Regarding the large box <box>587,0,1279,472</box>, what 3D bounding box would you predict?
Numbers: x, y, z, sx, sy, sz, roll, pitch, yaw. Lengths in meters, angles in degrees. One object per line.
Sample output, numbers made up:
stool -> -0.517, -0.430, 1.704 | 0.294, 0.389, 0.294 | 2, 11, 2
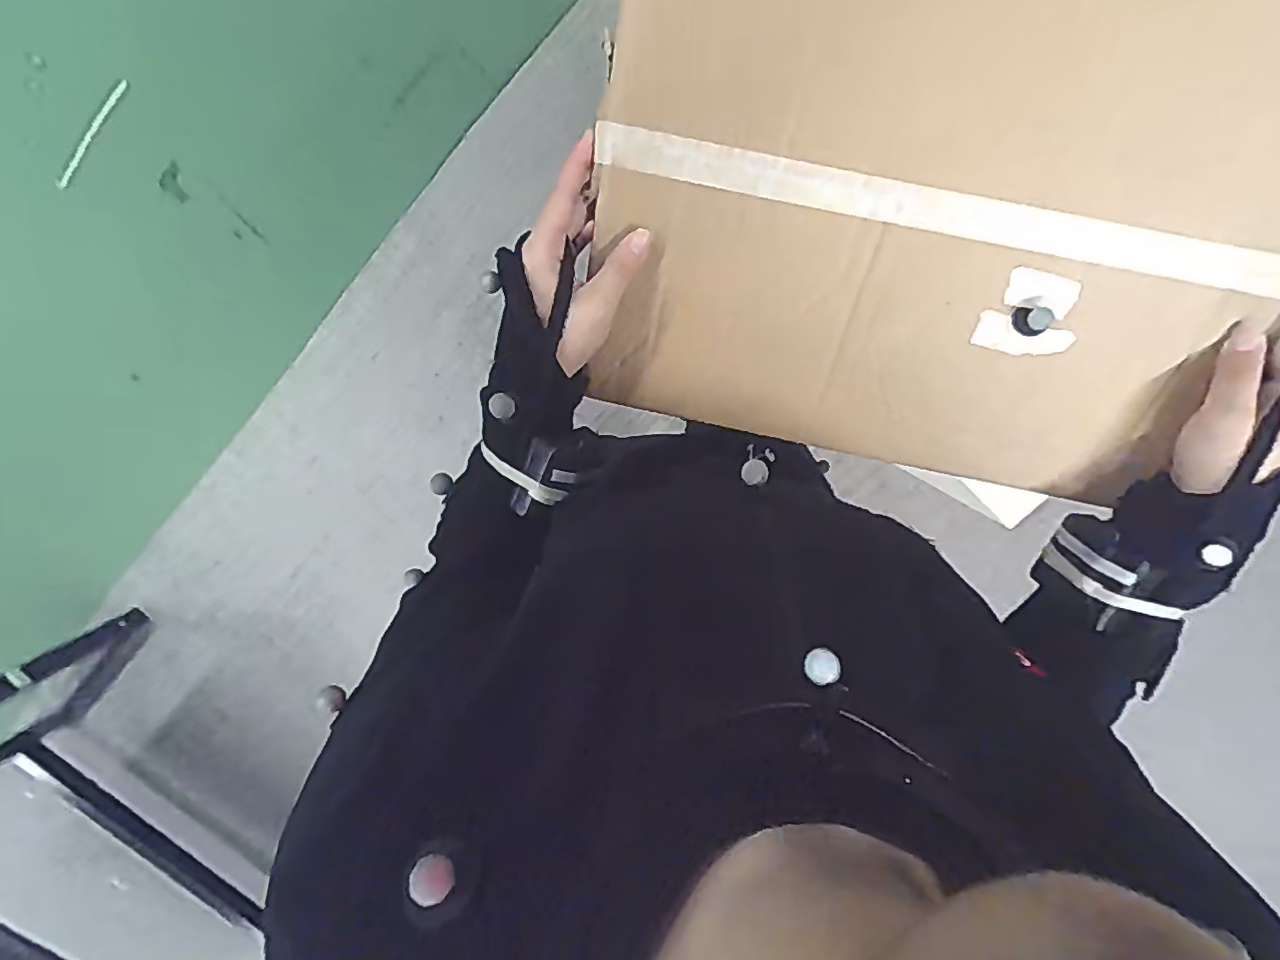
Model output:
large box -> 0.188, -0.238, 0.443 | 0.408, 0.320, 0.320 | 10, 120, 0
